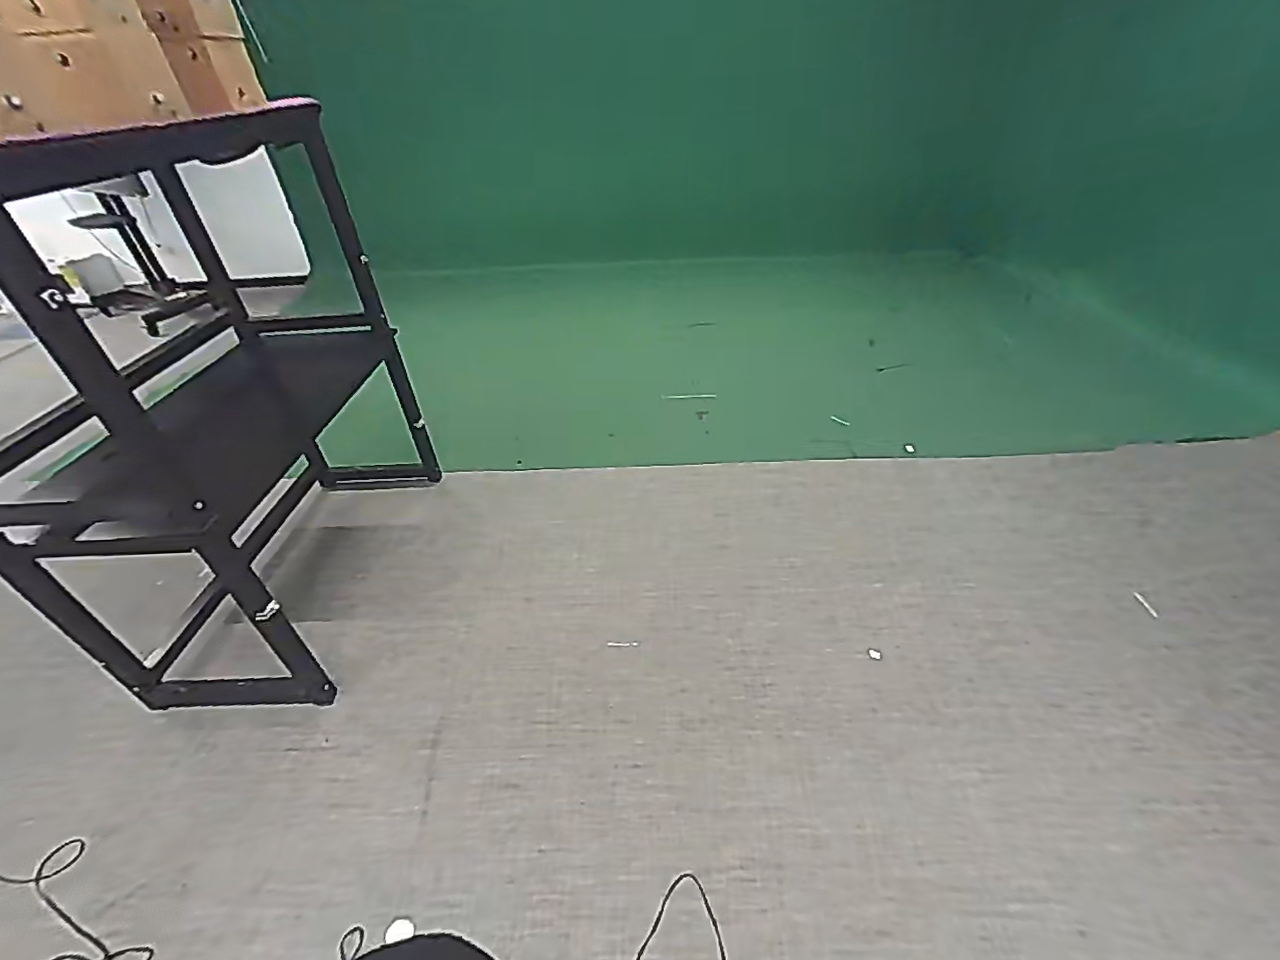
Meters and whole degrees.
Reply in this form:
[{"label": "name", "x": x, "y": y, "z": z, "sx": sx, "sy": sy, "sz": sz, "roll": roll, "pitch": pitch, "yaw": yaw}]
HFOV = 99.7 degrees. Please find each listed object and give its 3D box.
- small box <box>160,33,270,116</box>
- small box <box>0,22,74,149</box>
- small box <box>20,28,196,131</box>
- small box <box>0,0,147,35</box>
[{"label": "small box", "x": -1.151, "y": -1.083, "z": 1.448, "sx": 0.179, "sy": 0.176, "sz": 0.168, "roll": 0, "pitch": 39, "yaw": 3}, {"label": "small box", "x": -1.128, "y": -0.642, "z": 0.889, "sx": 0.179, "sy": 0.176, "sz": 0.168, "roll": -3, "pitch": 39, "yaw": 2}, {"label": "small box", "x": -1.146, "y": -0.873, "z": 1.183, "sx": 0.179, "sy": 0.176, "sz": 0.168, "roll": -1, "pitch": 39, "yaw": 2}, {"label": "small box", "x": -1.165, "y": -1.001, "z": 1.082, "sx": 0.179, "sy": 0.176, "sz": 0.168, "roll": -1, "pitch": 39, "yaw": 2}]
